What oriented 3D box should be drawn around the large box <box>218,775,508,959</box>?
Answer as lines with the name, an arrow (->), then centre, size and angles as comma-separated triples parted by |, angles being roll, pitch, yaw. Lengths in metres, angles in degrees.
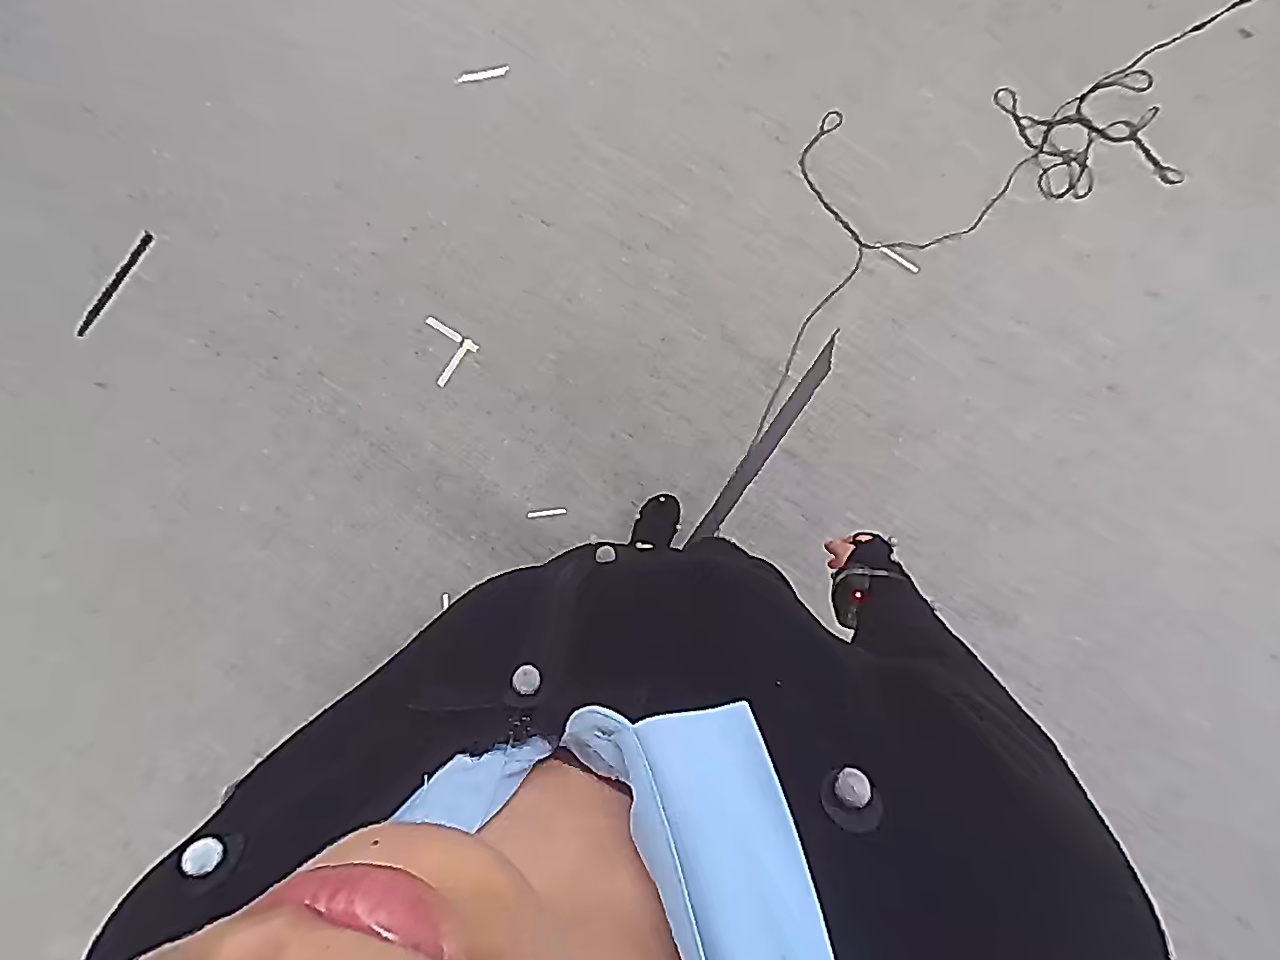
large box -> -0.559, 0.927, 1.140 | 0.408, 0.320, 0.320 | 35, 88, 3
